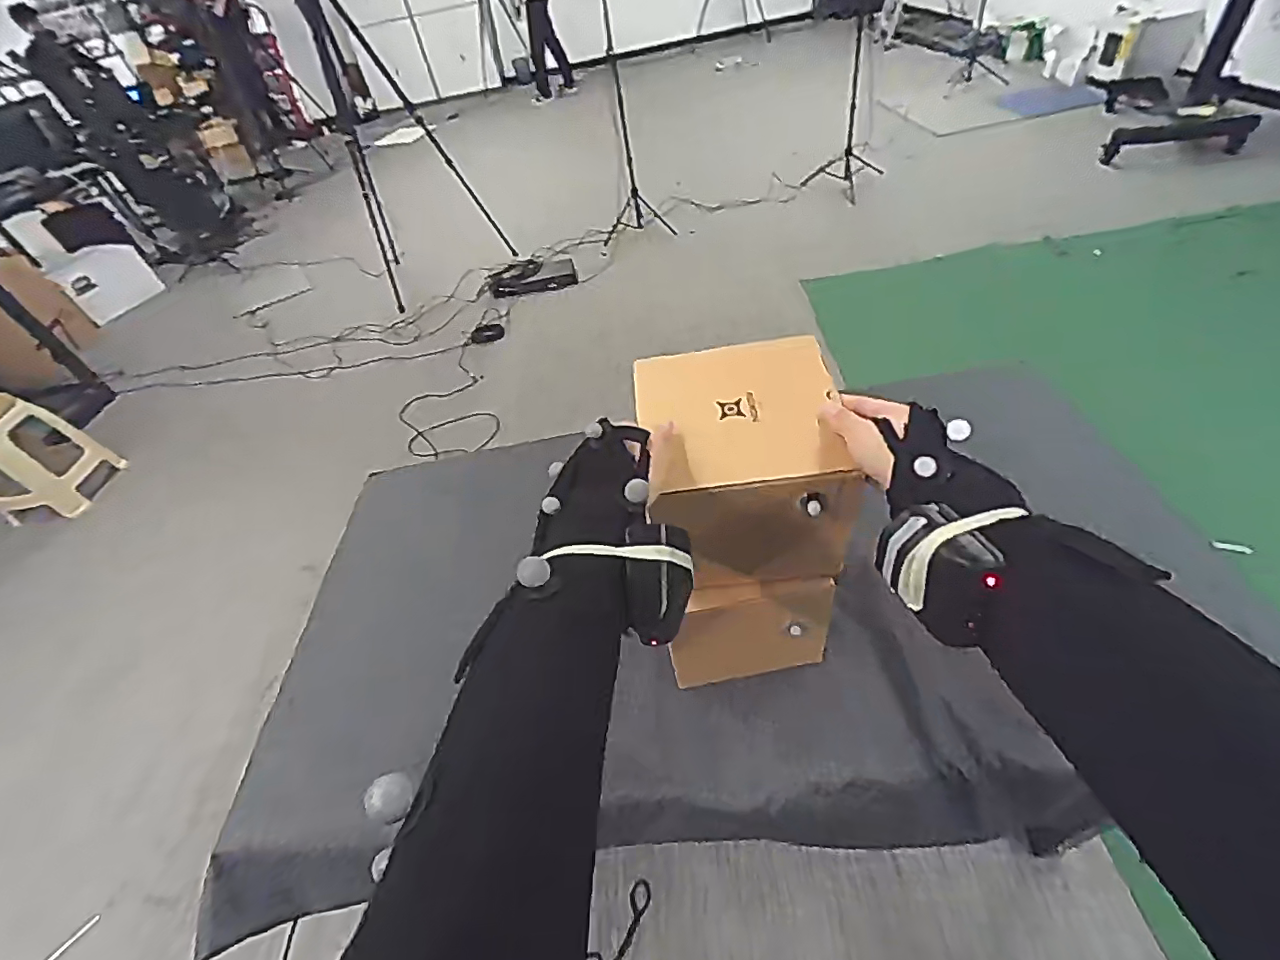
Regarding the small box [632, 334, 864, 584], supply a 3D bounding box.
[{"bbox_3d":[0.094,-0.012,0.524,0.179,0.176,0.168,-8,51,5],"label":"small box"}]
